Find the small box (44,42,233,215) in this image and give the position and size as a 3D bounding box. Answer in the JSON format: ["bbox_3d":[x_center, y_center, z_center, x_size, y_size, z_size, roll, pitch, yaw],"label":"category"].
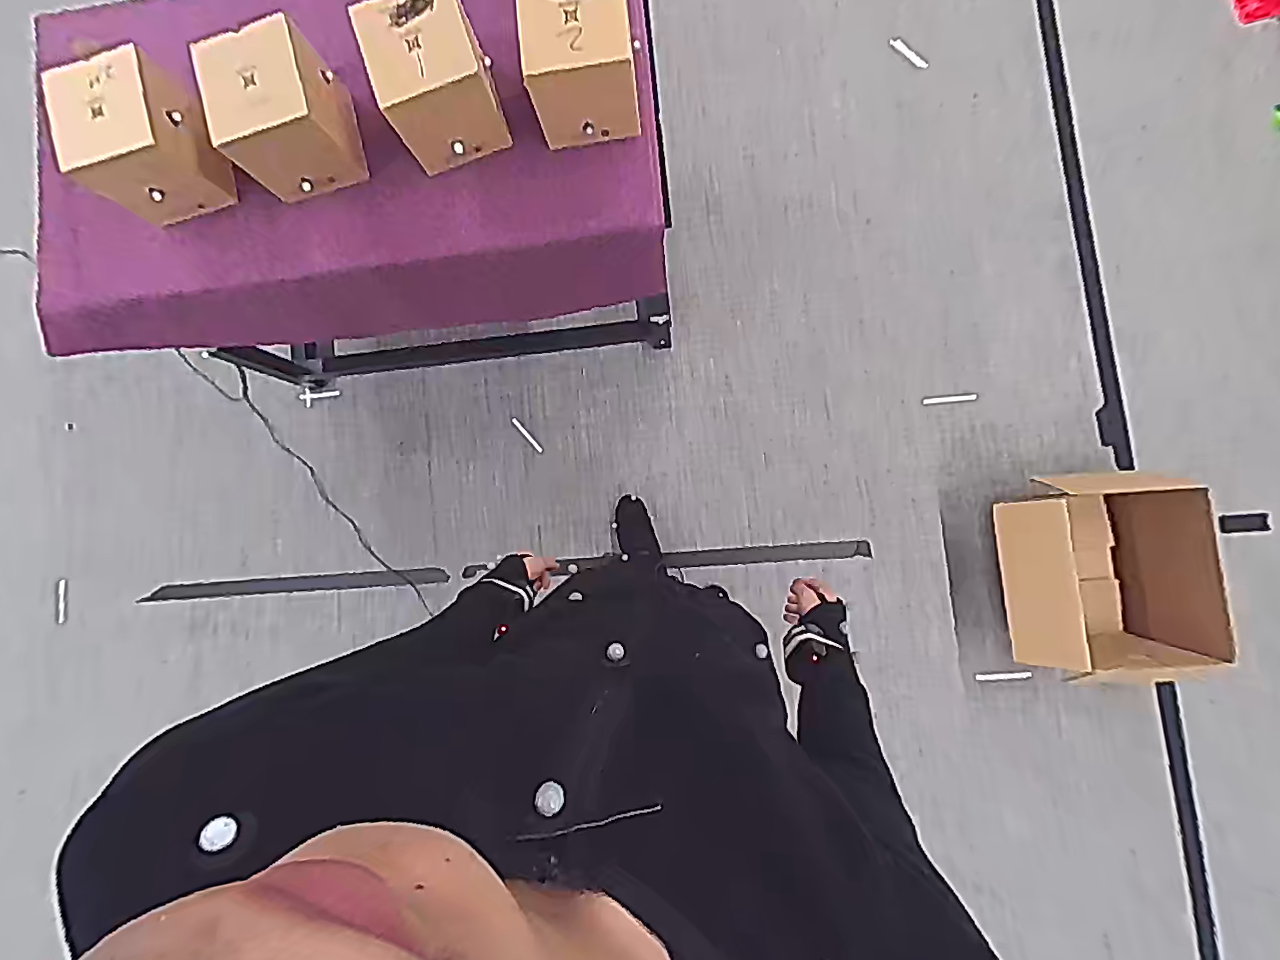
[{"bbox_3d":[-0.849,-0.587,0.933,0.168,0.176,0.179,-14,85,3],"label":"small box"}]

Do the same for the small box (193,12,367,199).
[{"bbox_3d":[-0.599,-0.621,0.918,0.168,0.176,0.179,-15,85,4],"label":"small box"}]

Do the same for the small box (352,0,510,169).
[{"bbox_3d":[-0.336,-0.667,0.898,0.168,0.176,0.179,-18,86,3],"label":"small box"}]
